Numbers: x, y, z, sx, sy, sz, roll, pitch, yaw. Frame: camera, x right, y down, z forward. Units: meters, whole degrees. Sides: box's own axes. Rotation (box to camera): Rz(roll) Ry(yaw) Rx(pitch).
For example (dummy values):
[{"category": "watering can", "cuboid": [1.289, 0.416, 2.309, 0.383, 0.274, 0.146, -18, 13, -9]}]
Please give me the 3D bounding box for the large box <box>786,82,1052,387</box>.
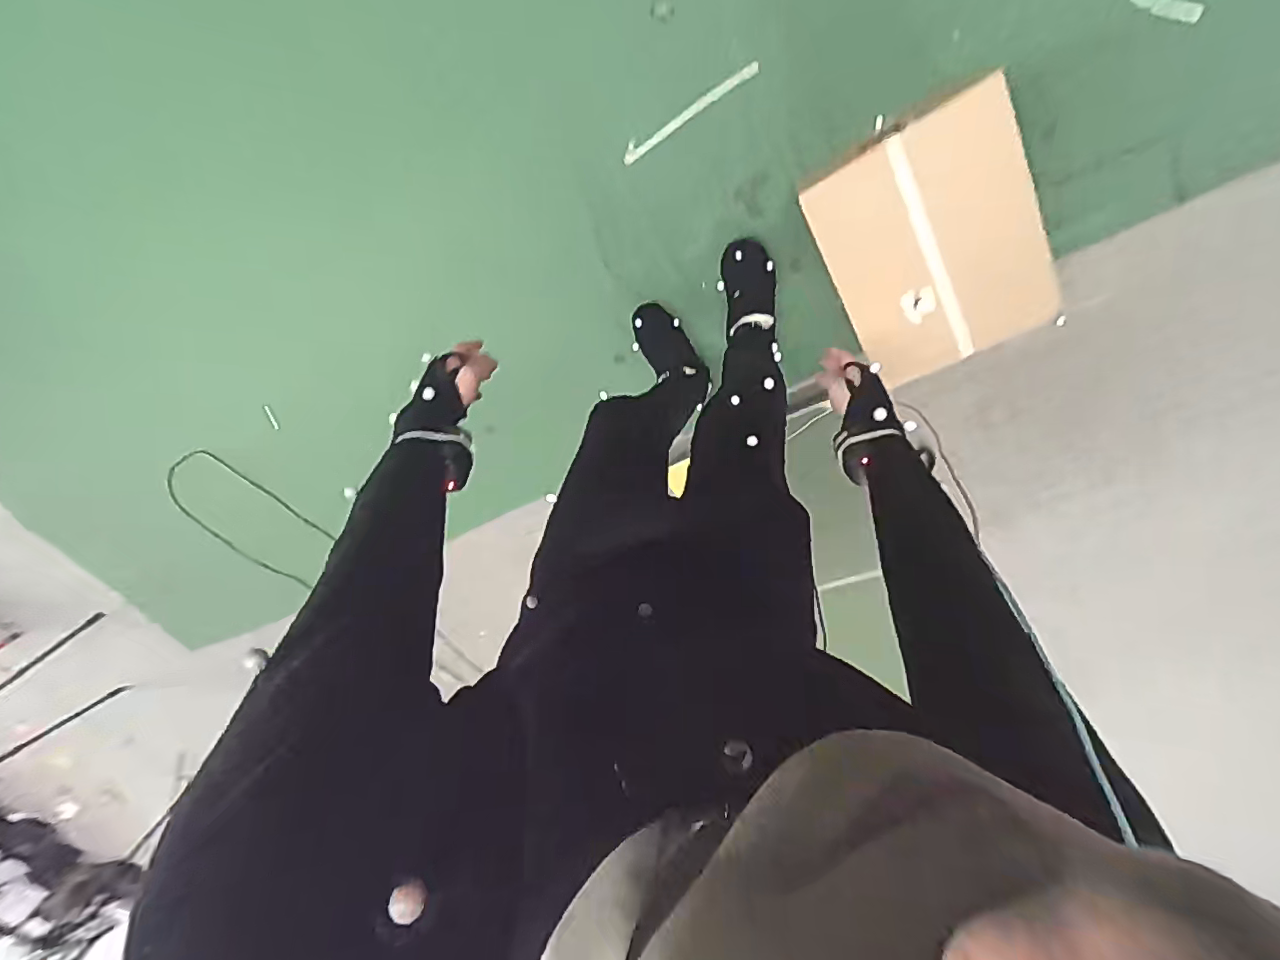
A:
[{"category": "large box", "cuboid": [0.517, -0.468, 1.058, 0.320, 0.320, 0.408, -23, 115, 26]}]
